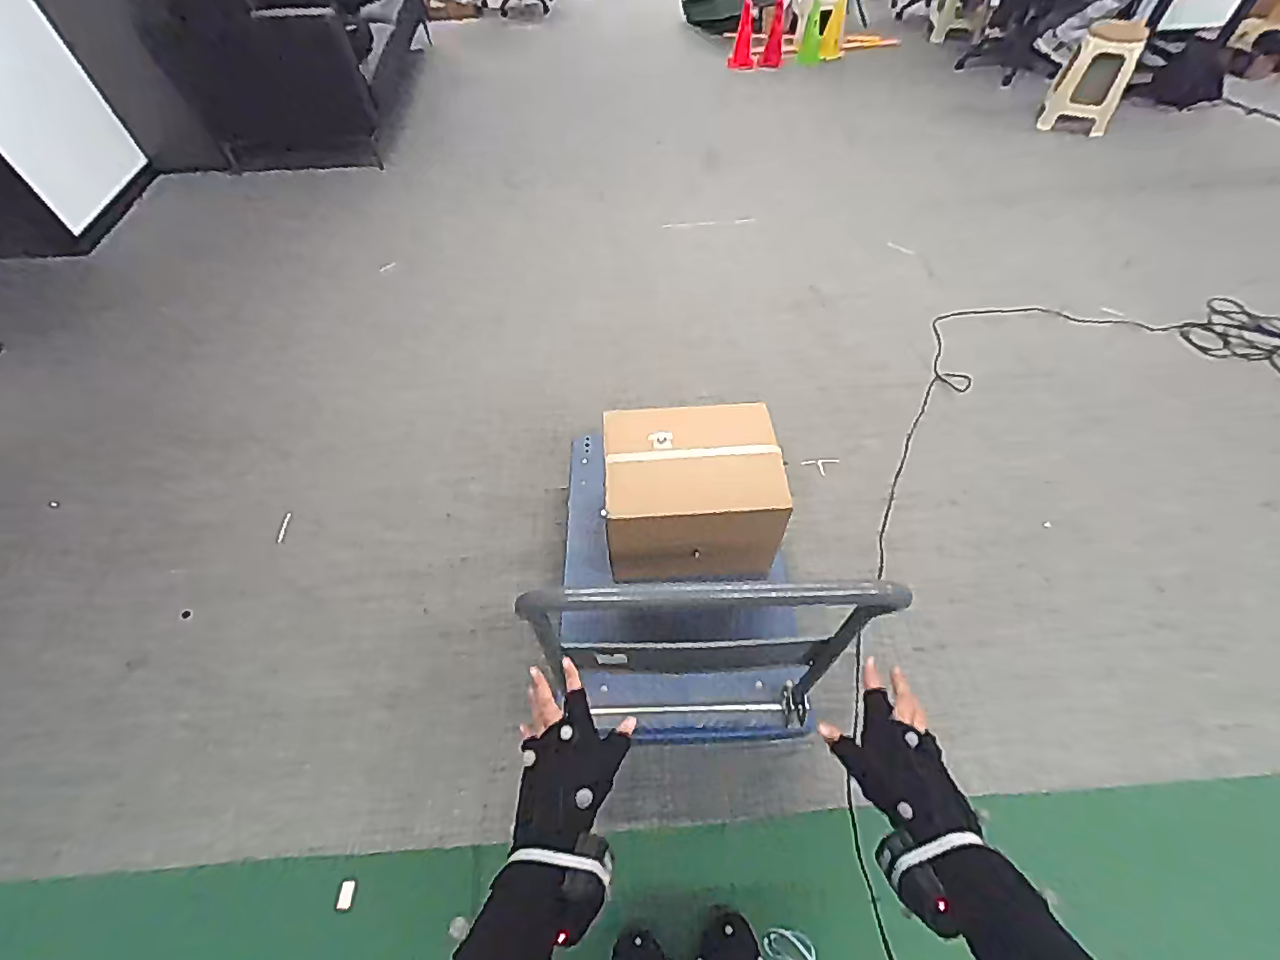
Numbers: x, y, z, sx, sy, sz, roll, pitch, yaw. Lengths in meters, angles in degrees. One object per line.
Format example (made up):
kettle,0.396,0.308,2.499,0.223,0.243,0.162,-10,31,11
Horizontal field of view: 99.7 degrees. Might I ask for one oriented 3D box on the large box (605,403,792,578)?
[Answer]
large box,0.127,0.035,1.369,0.408,0.320,0.320,-4,53,-1
